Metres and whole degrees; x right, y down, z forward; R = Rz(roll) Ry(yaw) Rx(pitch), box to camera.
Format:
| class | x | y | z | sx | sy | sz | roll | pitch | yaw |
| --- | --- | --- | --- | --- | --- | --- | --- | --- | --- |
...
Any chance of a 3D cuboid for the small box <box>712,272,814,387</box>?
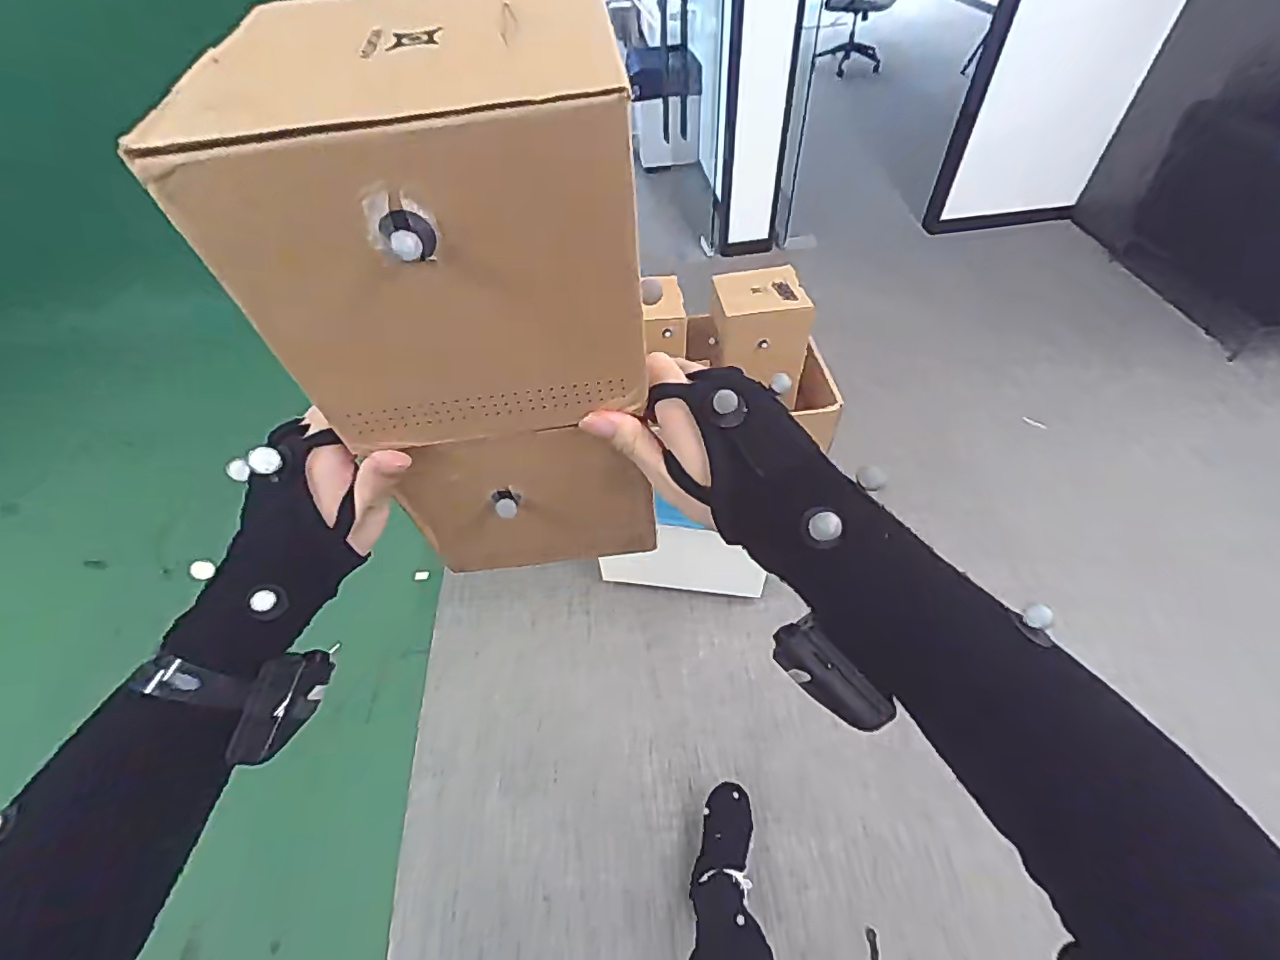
| class | x | y | z | sx | sy | sz | roll | pitch | yaw |
| --- | --- | --- | --- | --- | --- | --- | --- | --- | --- |
| small box | 0.255 | -0.320 | 1.163 | 0.179 | 0.176 | 0.168 | -7 | 48 | 1 |

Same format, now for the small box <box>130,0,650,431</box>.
| class | x | y | z | sx | sy | sz | roll | pitch | yaw |
| --- | --- | --- | --- | --- | --- | --- | --- | --- | --- |
| small box | -0.093 | -0.143 | 0.297 | 0.179 | 0.176 | 0.168 | -7 | 54 | -1 |

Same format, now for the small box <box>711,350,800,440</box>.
| class | x | y | z | sx | sy | sz | roll | pitch | yaw |
| --- | --- | --- | --- | --- | --- | --- | --- | --- | --- |
| small box | 0.266 | -0.210 | 1.284 | 0.179 | 0.176 | 0.168 | -6 | 48 | 1 |

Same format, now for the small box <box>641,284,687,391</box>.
| class | x | y | z | sx | sy | sz | roll | pitch | yaw |
| --- | --- | --- | --- | --- | --- | --- | --- | --- | --- |
| small box | 0.005 | -0.306 | 1.177 | 0.179 | 0.176 | 0.168 | -4 | 48 | -3 |

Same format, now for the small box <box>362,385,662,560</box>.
| class | x | y | z | sx | sy | sz | roll | pitch | yaw |
| --- | --- | --- | --- | --- | --- | --- | --- | --- | --- |
| small box | -0.081 | -0.049 | 0.432 | 0.179 | 0.176 | 0.168 | -7 | 54 | 1 |
